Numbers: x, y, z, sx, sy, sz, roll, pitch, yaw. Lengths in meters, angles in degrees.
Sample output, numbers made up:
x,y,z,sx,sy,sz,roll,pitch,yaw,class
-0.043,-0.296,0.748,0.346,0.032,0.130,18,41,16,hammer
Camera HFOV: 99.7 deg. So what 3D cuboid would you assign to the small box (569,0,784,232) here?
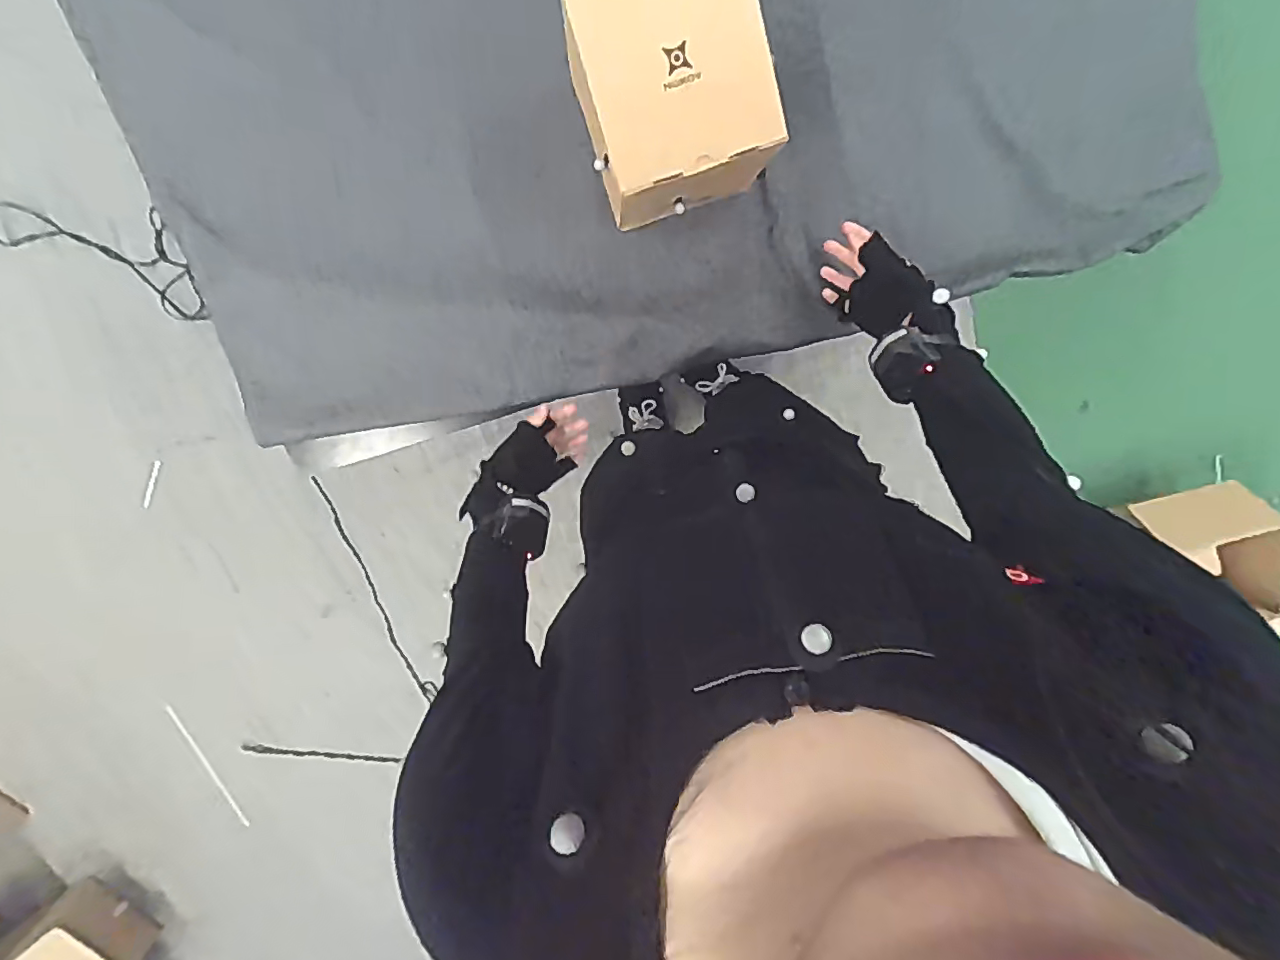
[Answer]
x,y,z,sx,sy,sz,roll,pitch,yaw,class
0.031,-0.391,0.578,0.168,0.176,0.179,-18,105,2,small box
